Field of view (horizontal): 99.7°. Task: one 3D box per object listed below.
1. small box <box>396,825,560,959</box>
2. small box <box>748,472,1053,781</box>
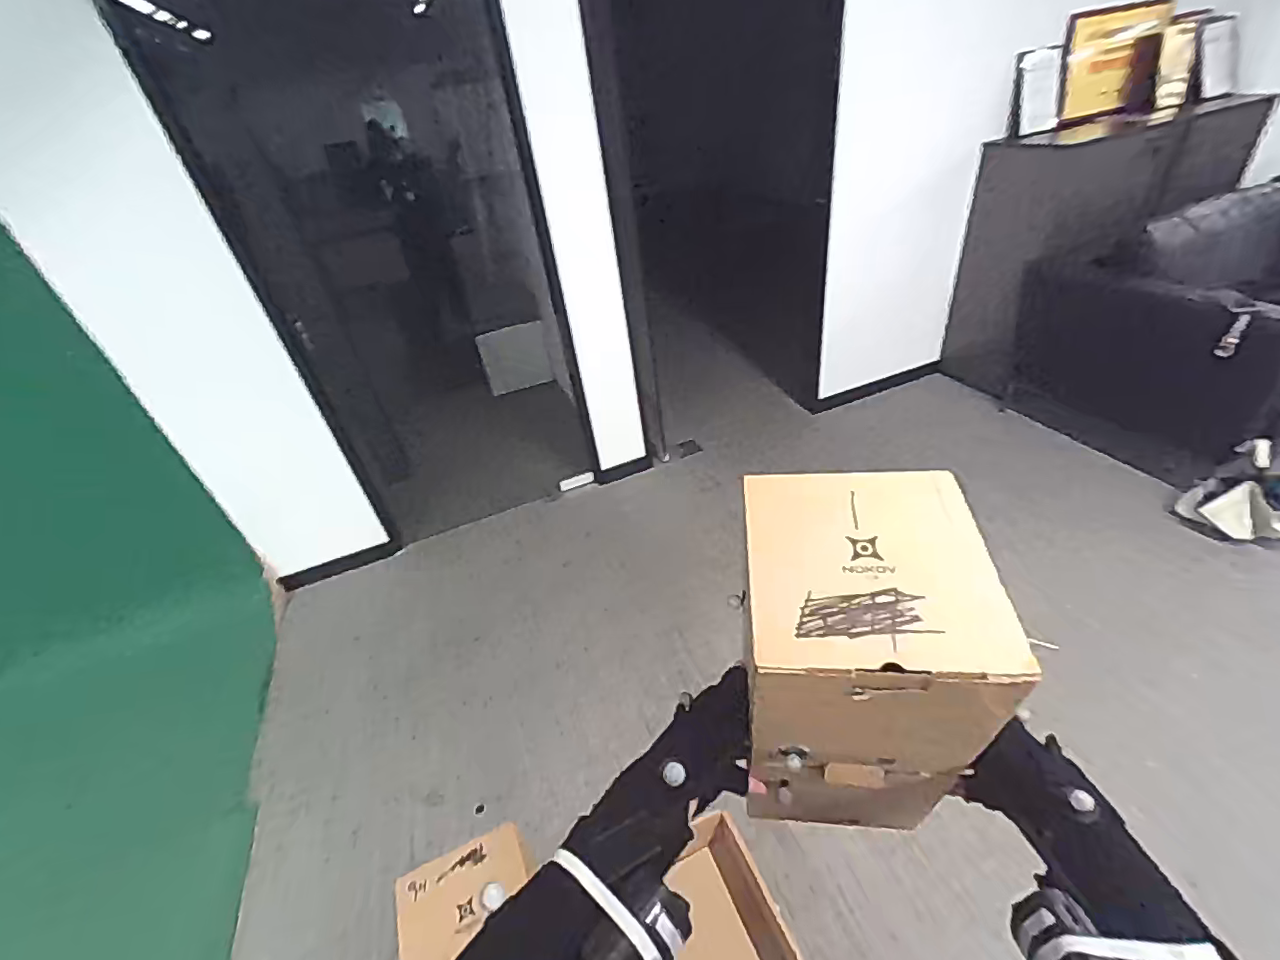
[{"bbox_3d":[-0.209,0.617,0.721,0.168,0.176,0.179,-18,37,-17],"label":"small box"},{"bbox_3d":[0.175,0.115,0.428,0.168,0.176,0.179,3,46,10],"label":"small box"}]
